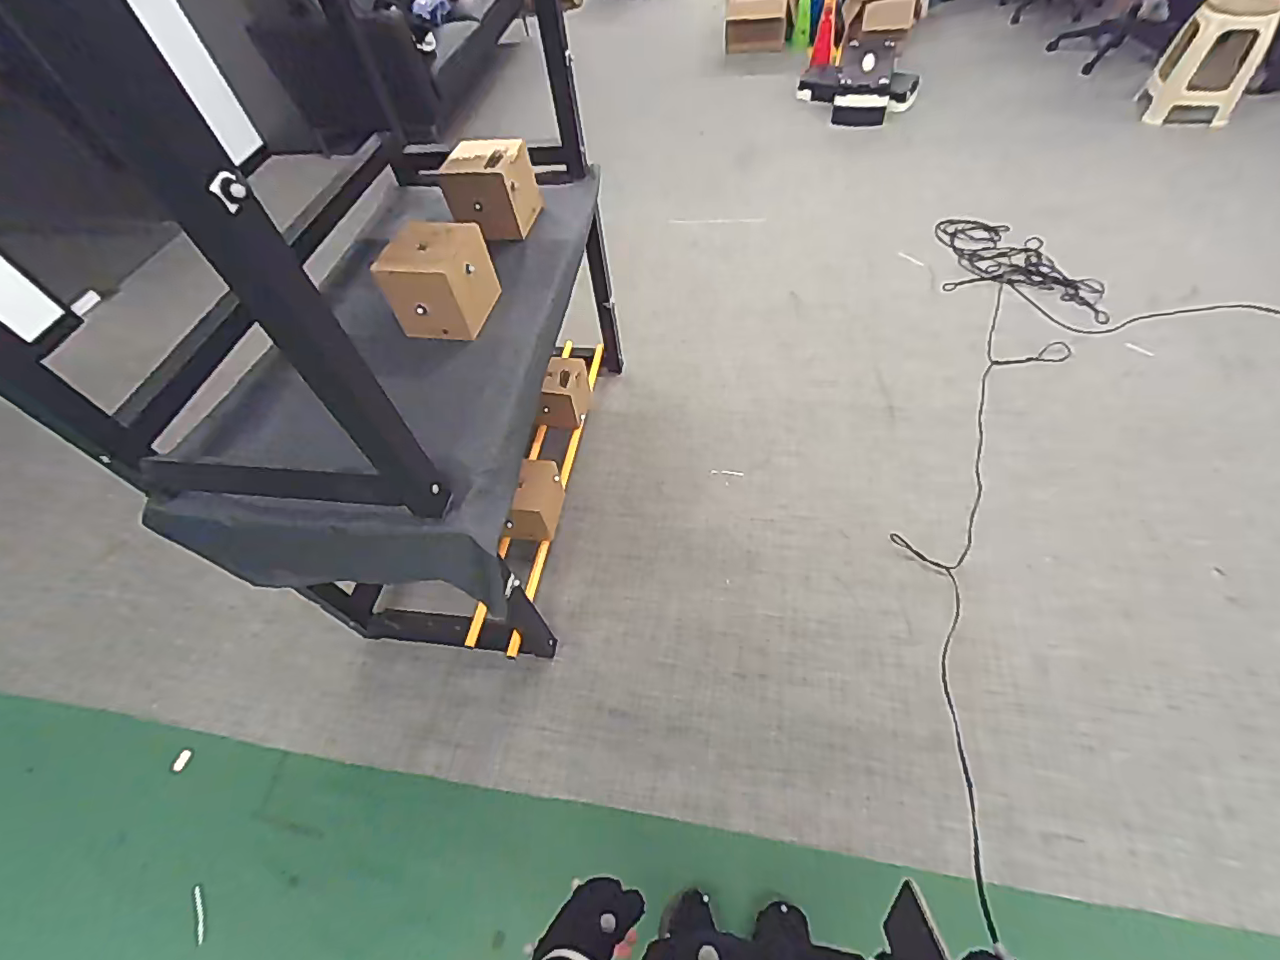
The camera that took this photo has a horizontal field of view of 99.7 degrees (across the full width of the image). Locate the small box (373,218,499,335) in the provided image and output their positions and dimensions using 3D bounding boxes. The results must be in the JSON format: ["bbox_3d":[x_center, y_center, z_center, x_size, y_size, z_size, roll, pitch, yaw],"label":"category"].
[{"bbox_3d":[-0.421,-0.430,1.151,0.168,0.176,0.179,7,56,11],"label":"small box"}]

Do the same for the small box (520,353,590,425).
[{"bbox_3d":[-0.276,-0.302,1.810,0.179,0.176,0.168,7,56,11],"label":"small box"}]
